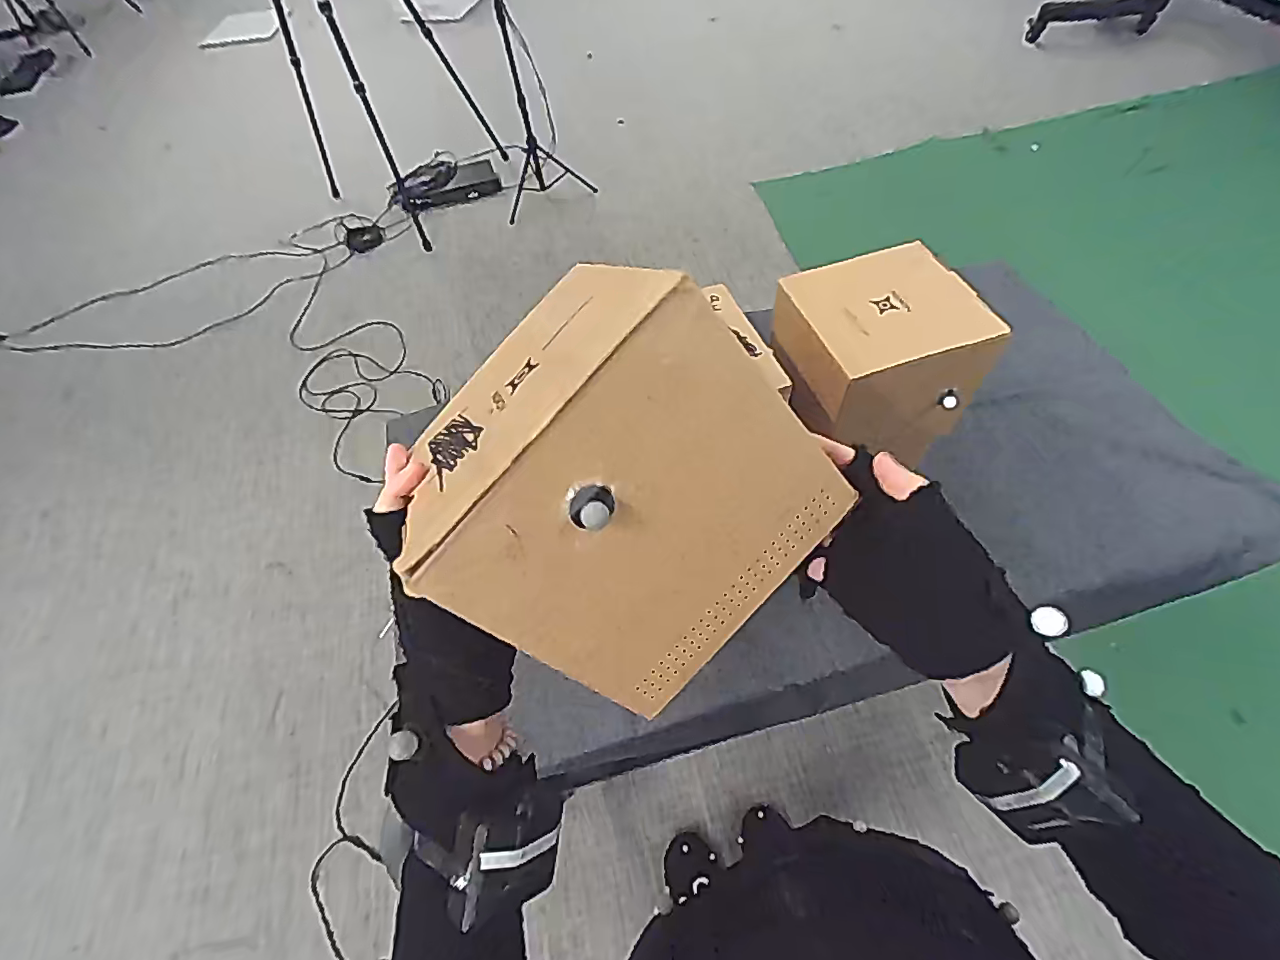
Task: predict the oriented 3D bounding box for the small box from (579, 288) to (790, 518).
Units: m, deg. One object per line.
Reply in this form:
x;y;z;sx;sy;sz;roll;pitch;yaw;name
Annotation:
0.050;-0.081;0.624;0.179;0.176;0.168;-21;58;-6;small box
